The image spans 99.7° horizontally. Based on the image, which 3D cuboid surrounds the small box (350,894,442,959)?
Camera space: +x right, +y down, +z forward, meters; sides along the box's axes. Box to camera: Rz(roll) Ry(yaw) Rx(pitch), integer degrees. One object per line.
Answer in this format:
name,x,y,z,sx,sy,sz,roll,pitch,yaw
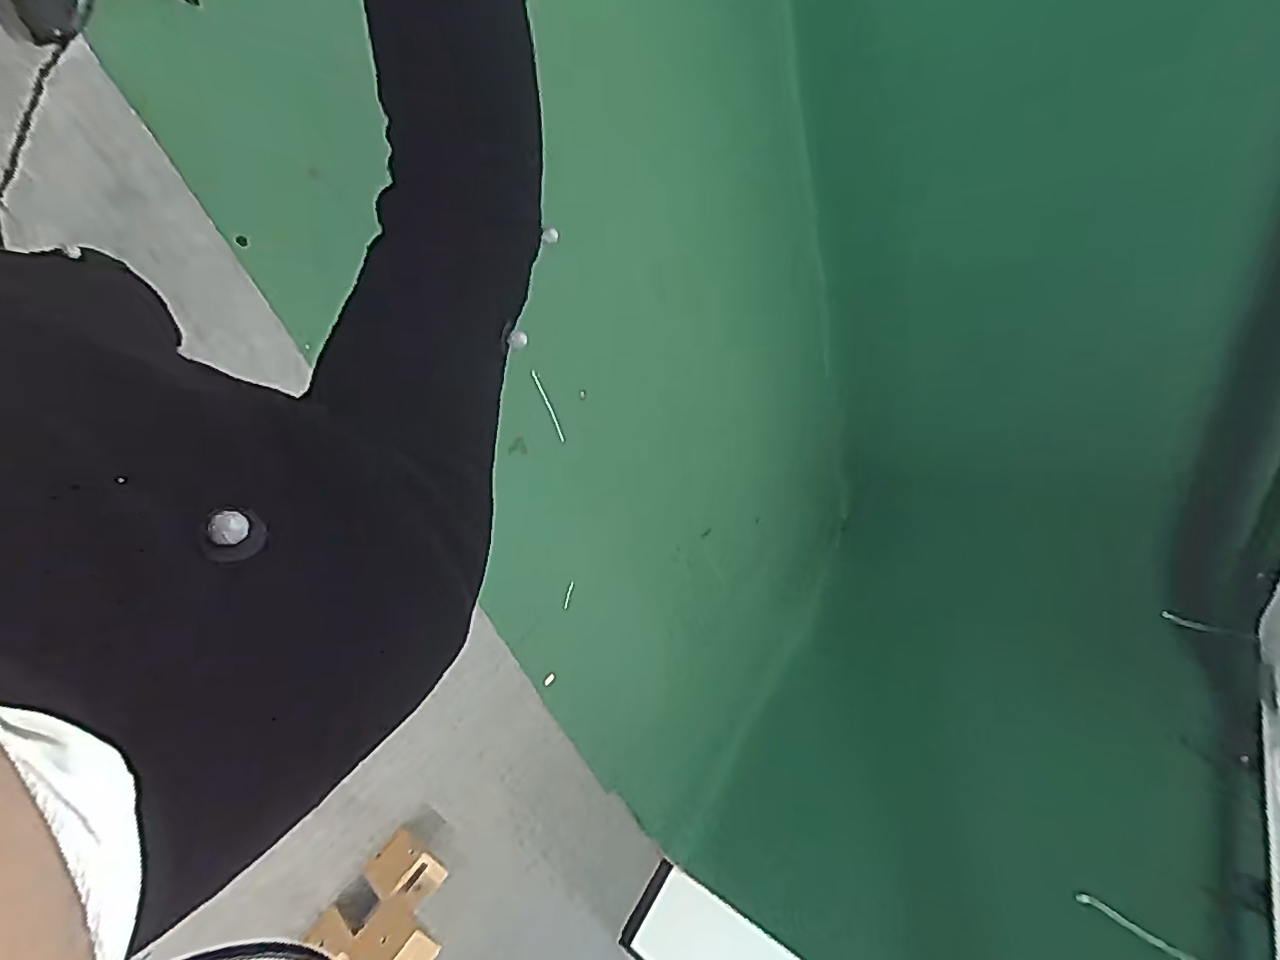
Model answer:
small box,-0.758,1.441,1.665,0.179,0.176,0.168,-45,130,-35
